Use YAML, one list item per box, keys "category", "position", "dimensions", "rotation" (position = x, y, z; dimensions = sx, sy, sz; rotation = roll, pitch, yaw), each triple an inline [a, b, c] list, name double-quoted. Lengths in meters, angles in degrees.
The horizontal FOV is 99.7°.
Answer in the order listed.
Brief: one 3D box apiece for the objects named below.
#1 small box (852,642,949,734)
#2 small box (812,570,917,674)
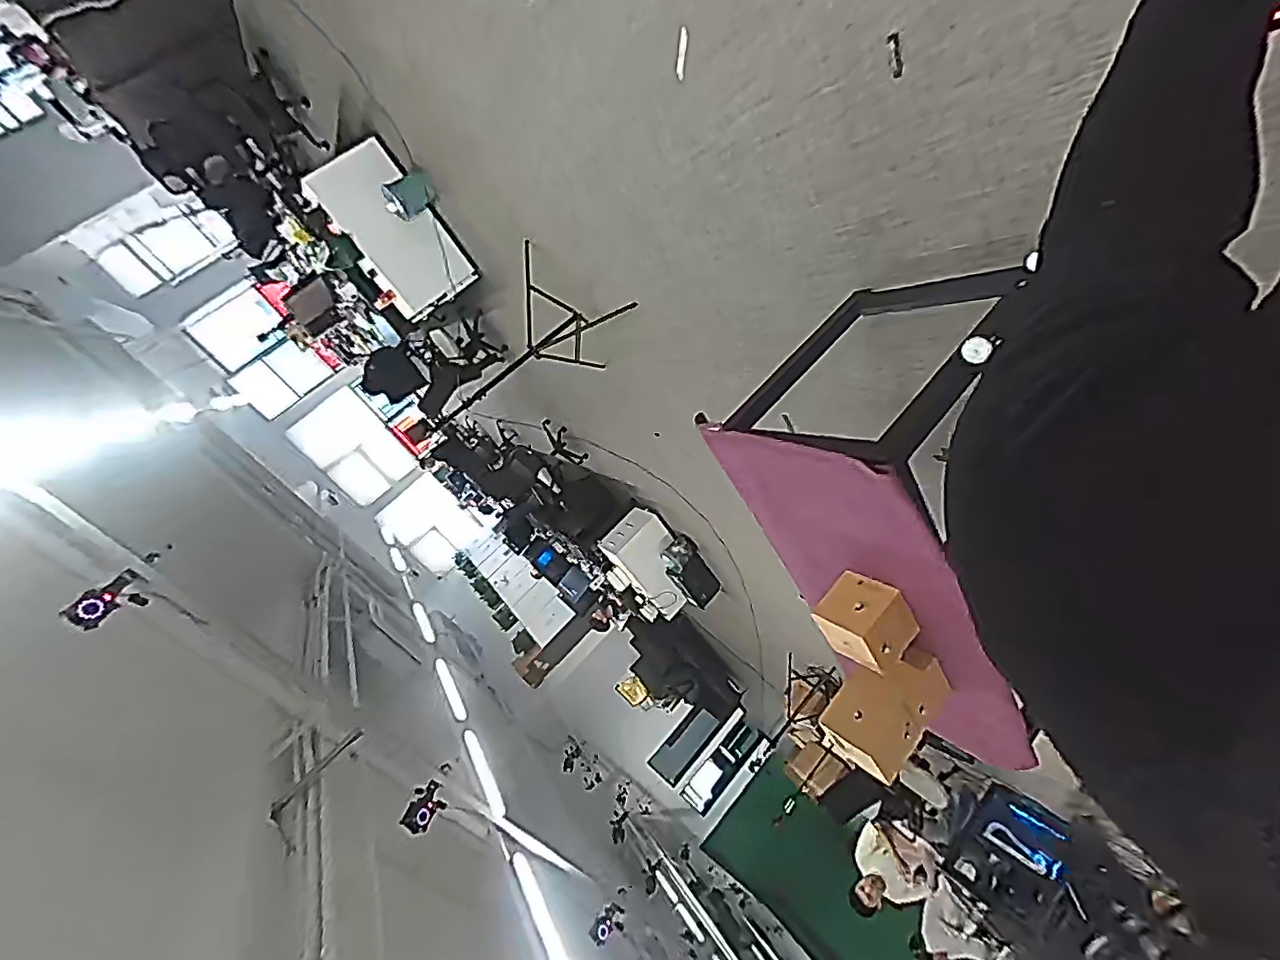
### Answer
- category: "small box"
  position: [0.750, 0.577, 1.551]
  dimensions: [0.179, 0.176, 0.168]
  rotation: [55, 162, -26]
- category: "small box"
  position: [0.597, 0.368, 1.432]
  dimensions: [0.179, 0.176, 0.168]
  rotation: [53, 162, -27]
